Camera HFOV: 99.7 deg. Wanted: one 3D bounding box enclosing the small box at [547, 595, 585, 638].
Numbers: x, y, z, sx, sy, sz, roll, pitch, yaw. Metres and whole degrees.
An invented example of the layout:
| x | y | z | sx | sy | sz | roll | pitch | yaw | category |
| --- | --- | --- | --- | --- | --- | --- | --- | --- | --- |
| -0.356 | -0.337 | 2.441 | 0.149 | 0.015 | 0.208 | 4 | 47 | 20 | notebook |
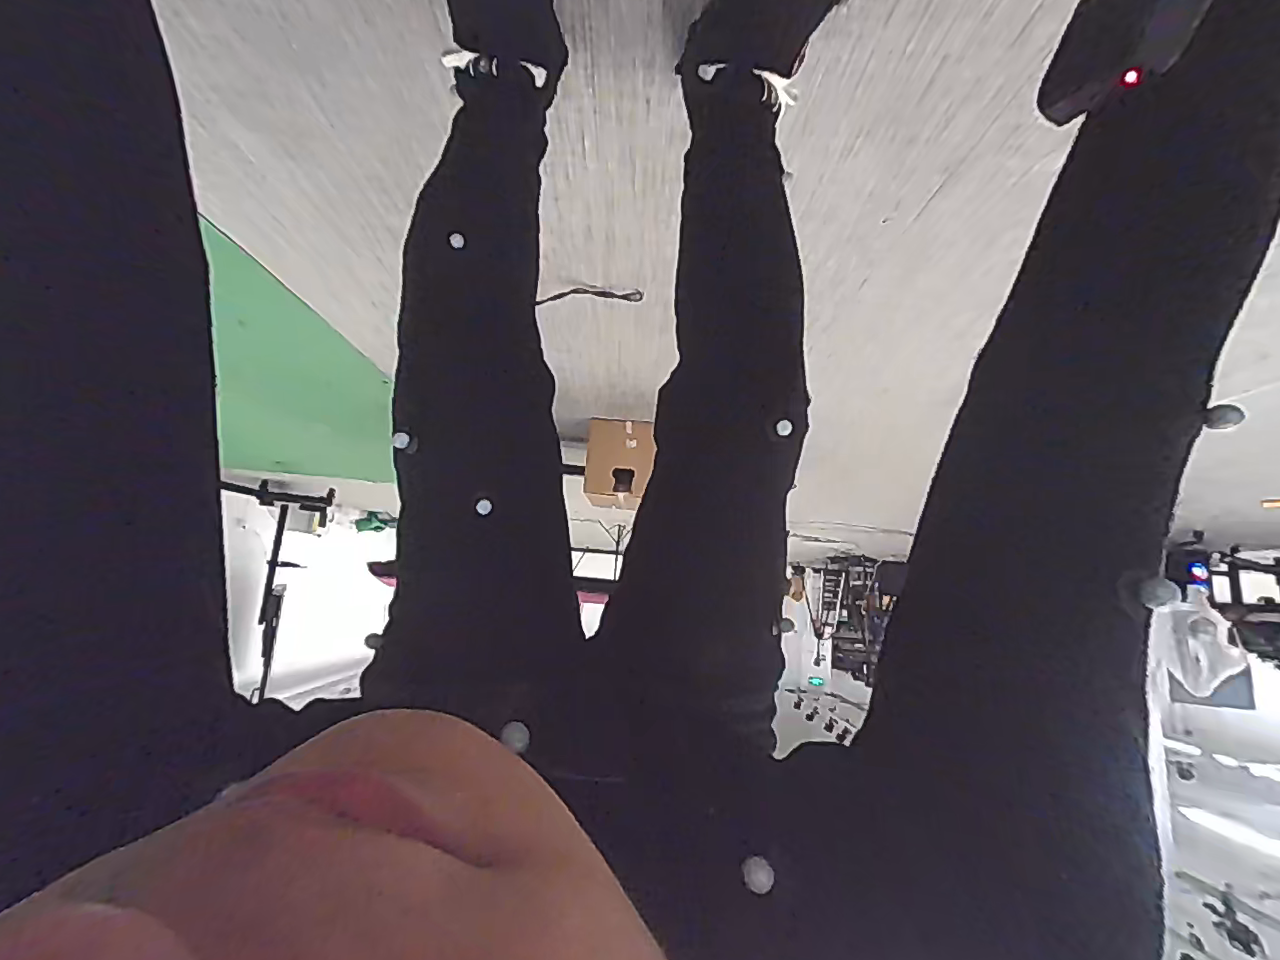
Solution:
| x | y | z | sx | sy | sz | roll | pitch | yaw | category |
| --- | --- | --- | --- | --- | --- | --- | --- | --- | --- |
| -0.344 | 0.617 | 2.454 | 0.168 | 0.176 | 0.179 | 6 | 168 | 0 | small box |

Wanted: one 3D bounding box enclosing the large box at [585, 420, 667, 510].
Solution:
| x | y | z | sx | sy | sz | roll | pitch | yaw | category |
| --- | --- | --- | --- | --- | --- | --- | --- | --- | --- |
| -0.047 | -0.054 | 2.343 | 0.320 | 0.320 | 0.408 | 5 | 170 | 2 | large box |
